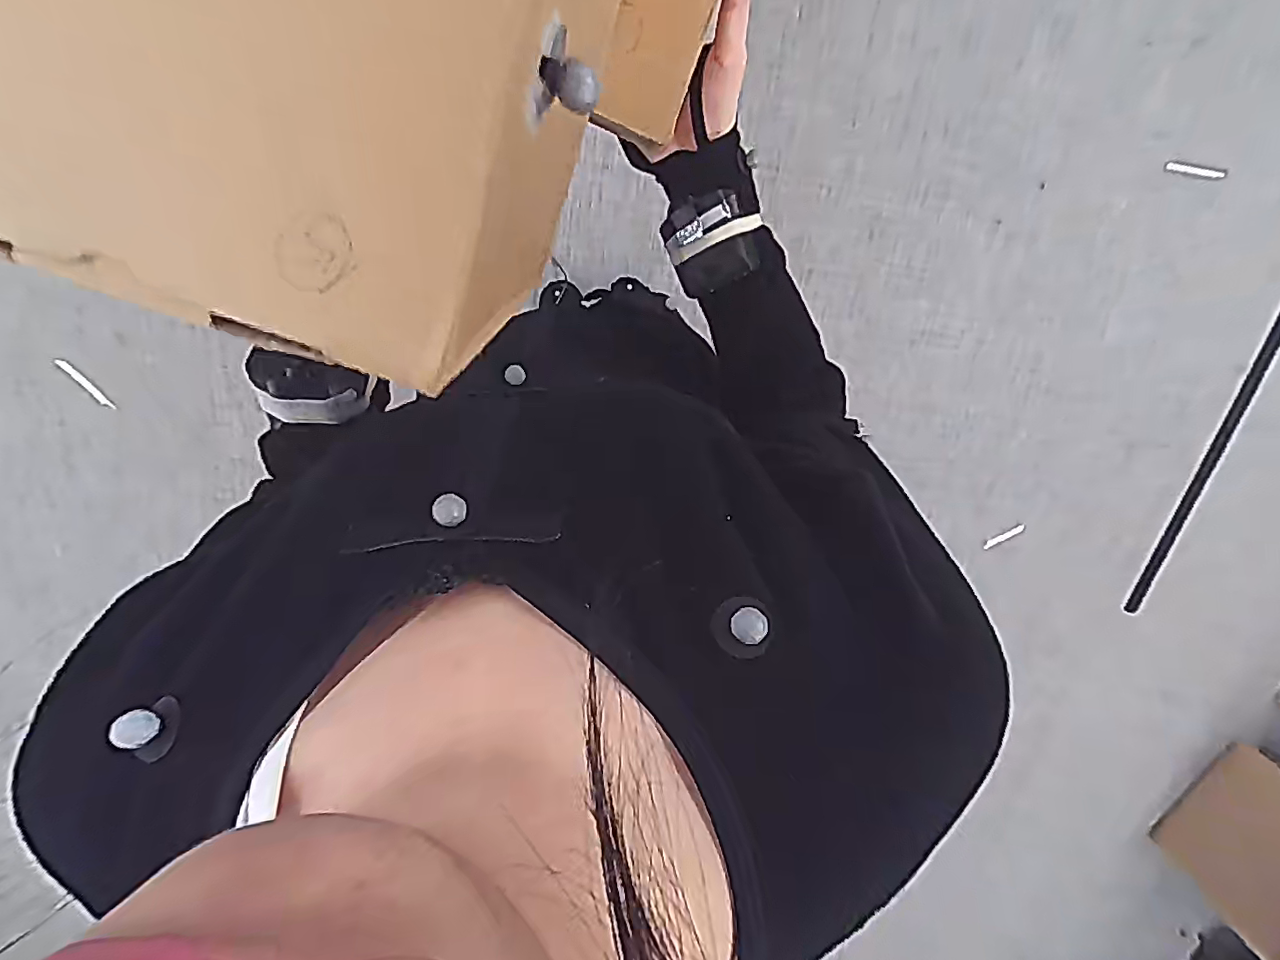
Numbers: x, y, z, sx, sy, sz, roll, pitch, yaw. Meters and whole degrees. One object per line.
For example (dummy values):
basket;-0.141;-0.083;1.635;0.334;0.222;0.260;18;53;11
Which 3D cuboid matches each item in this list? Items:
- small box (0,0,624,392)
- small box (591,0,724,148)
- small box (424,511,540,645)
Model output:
small box;-0.096;-0.159;0.164;0.168;0.176;0.179;18;120;-10
small box;-0.028;-0.294;0.274;0.168;0.176;0.179;19;117;-10
small box;-0.288;0.176;1.015;0.168;0.176;0.179;12;109;-6
